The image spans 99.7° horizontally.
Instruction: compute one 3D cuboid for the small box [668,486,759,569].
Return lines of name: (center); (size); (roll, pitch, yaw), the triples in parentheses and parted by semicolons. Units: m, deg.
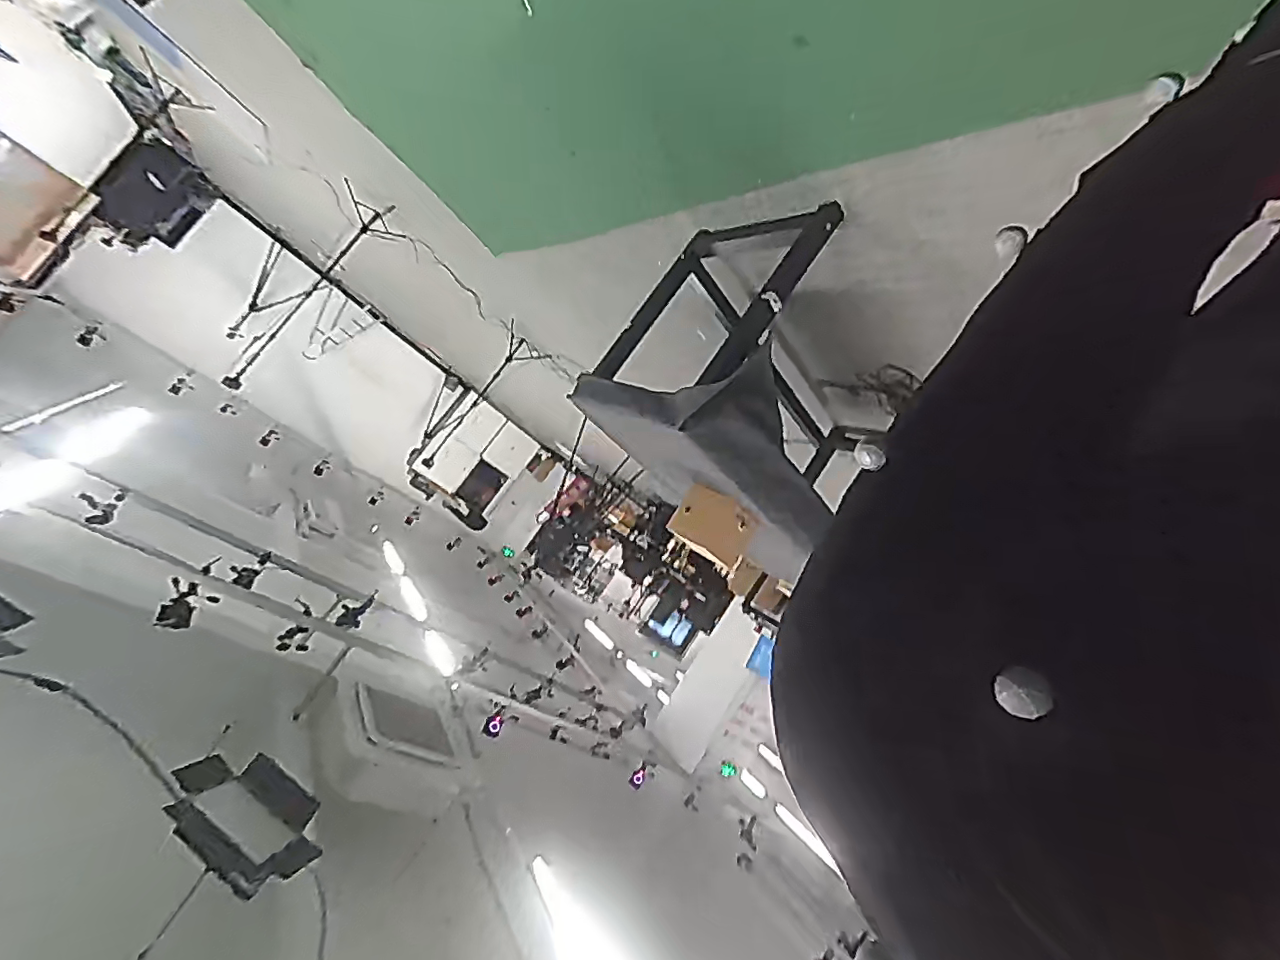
small box: (0.226, 0.138, 1.641); (0.168, 0.176, 0.179); (40, 170, -36)
